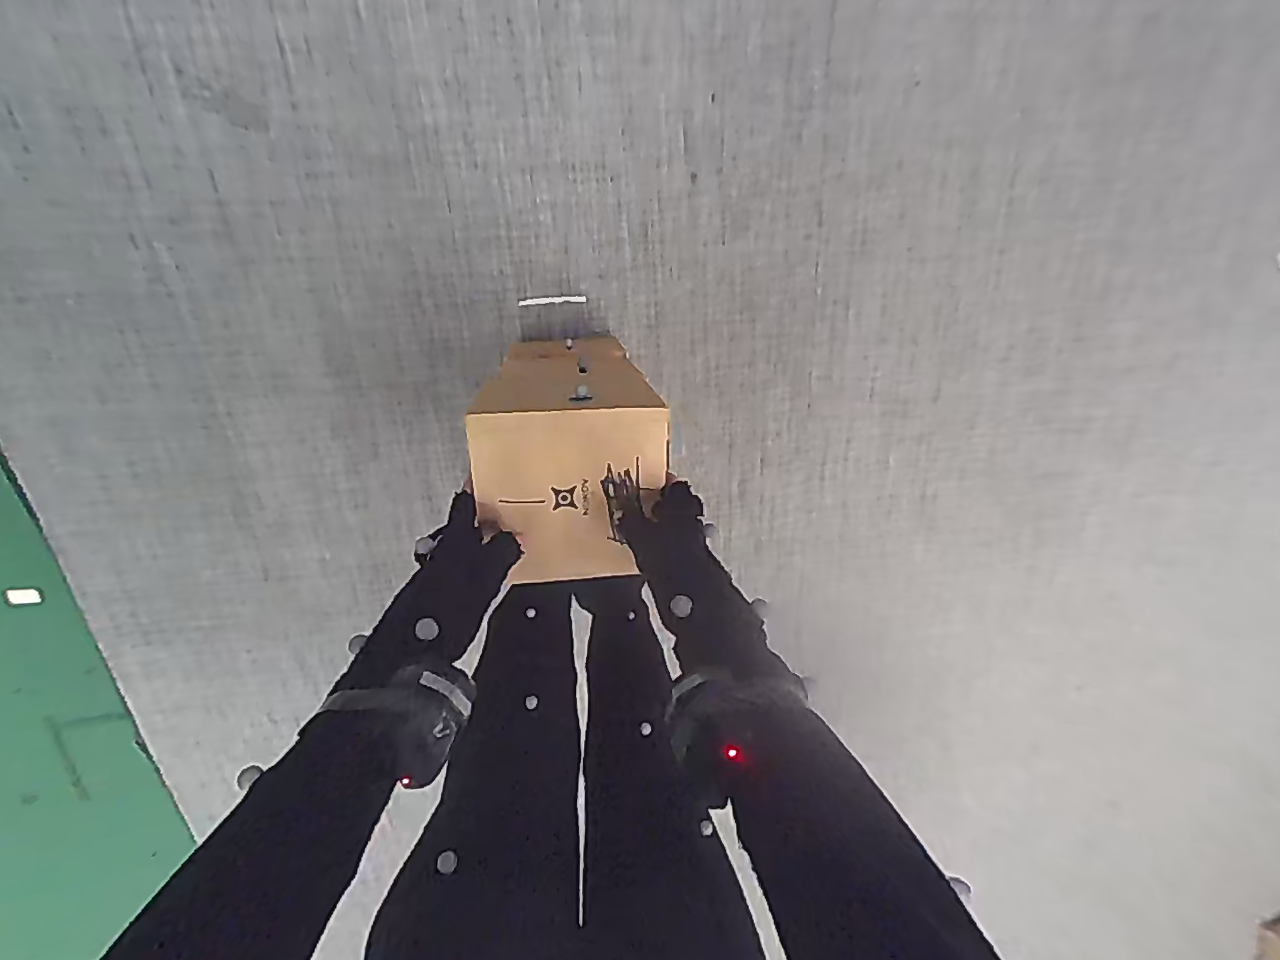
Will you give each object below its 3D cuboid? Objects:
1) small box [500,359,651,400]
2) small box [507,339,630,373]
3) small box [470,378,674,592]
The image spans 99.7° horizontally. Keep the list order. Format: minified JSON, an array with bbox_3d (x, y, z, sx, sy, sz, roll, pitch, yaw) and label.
[{"bbox_3d":[-0.087,-0.066,0.719,0.179,0.176,0.168,-1,111,-8],"label":"small box"},{"bbox_3d":[-0.108,-0.131,0.868,0.179,0.176,0.168,-5,111,-5],"label":"small box"},{"bbox_3d":[-0.069,-0.007,0.566,0.179,0.176,0.168,-6,112,-7],"label":"small box"}]
